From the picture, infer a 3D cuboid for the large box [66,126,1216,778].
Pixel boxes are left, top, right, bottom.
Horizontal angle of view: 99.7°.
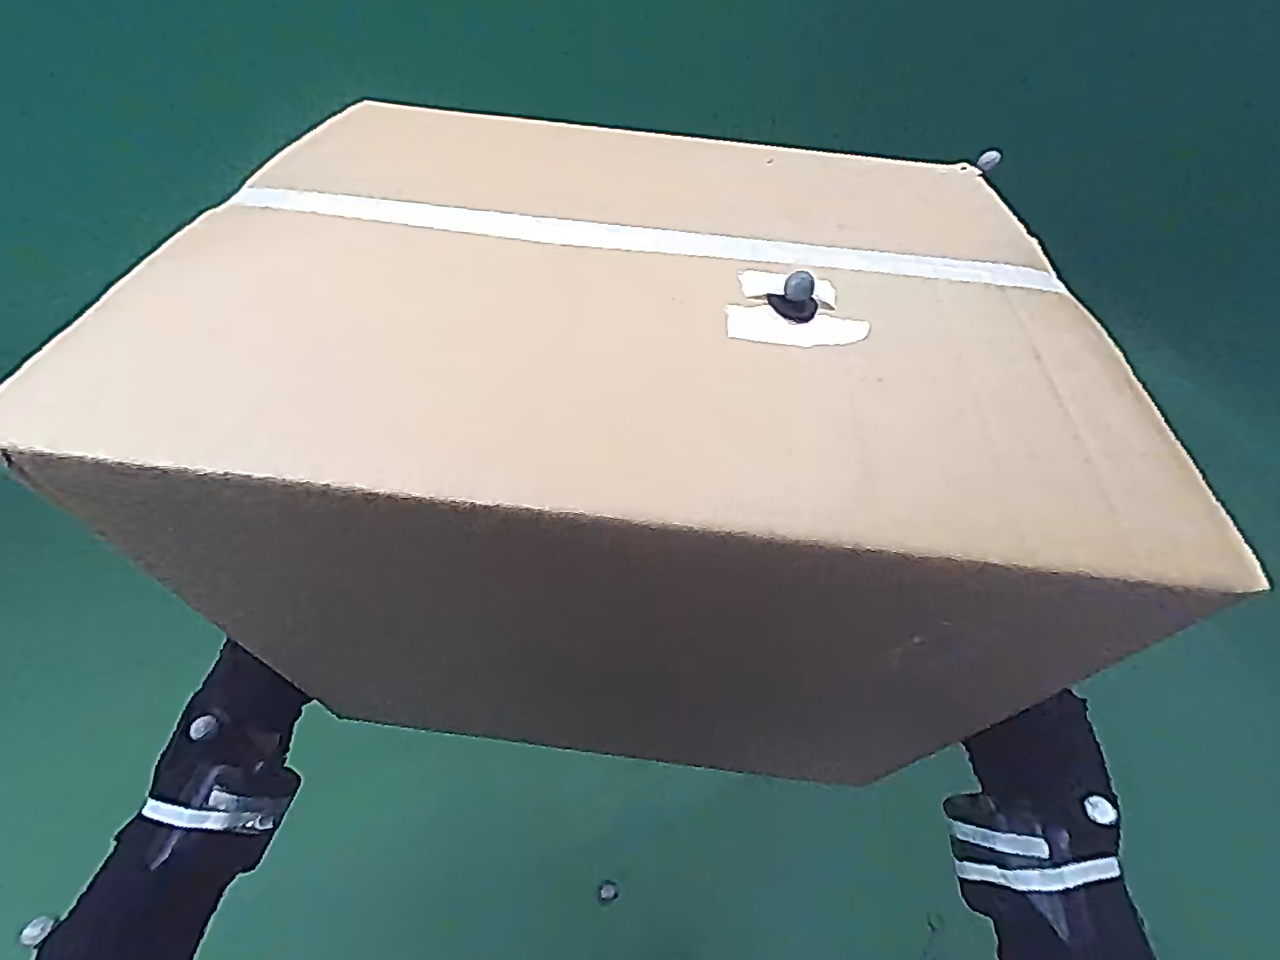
[{"bbox_3d":[0.002,-0.010,0.390,0.408,0.320,0.320,8,51,2],"label":"large box"}]
